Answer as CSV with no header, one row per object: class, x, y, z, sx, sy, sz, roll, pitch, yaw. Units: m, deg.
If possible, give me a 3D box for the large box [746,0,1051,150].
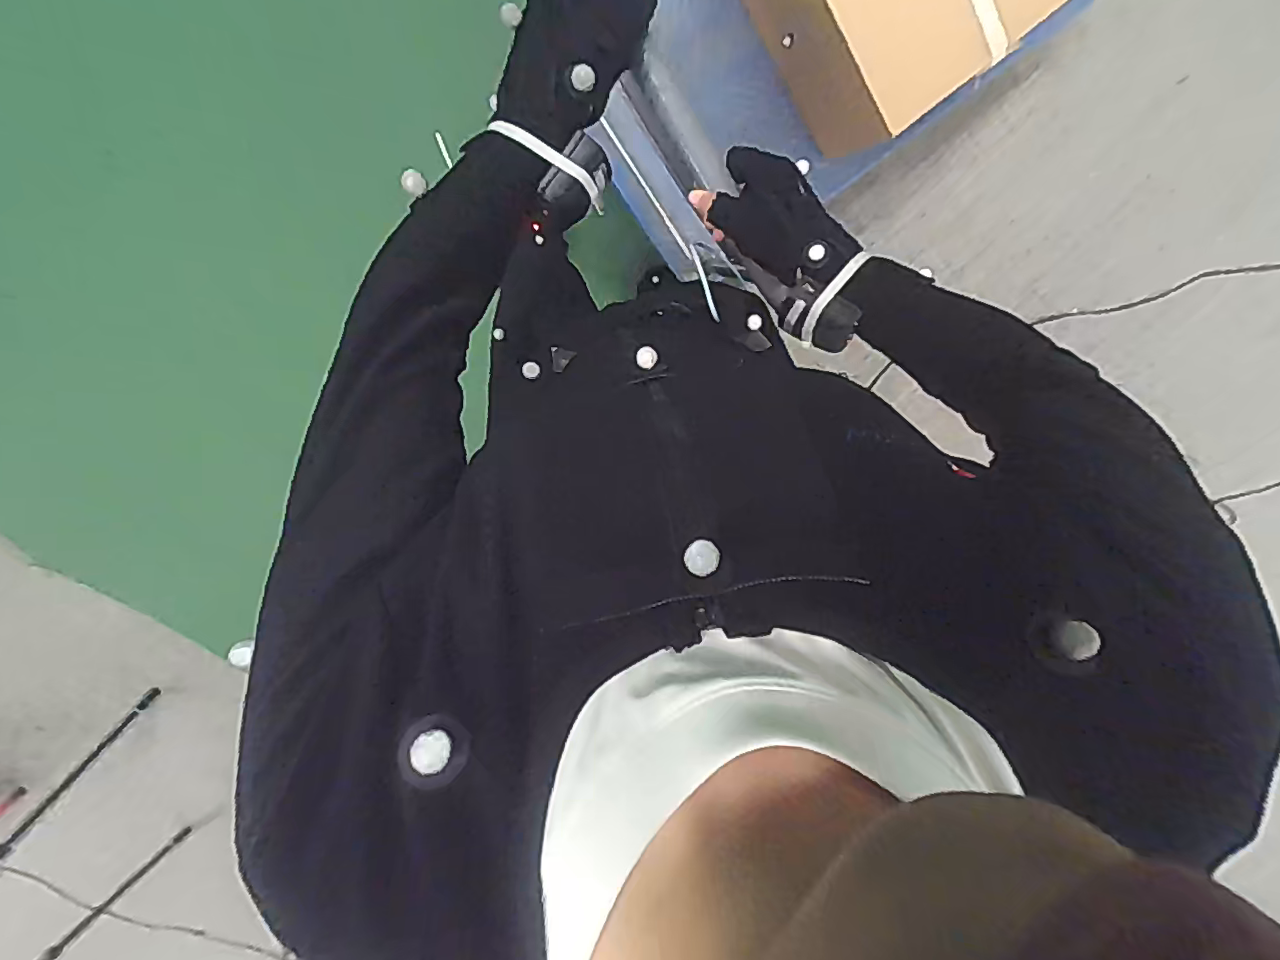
large box,0.363,-0.796,0.813,0.320,0.320,0.408,-35,110,15
